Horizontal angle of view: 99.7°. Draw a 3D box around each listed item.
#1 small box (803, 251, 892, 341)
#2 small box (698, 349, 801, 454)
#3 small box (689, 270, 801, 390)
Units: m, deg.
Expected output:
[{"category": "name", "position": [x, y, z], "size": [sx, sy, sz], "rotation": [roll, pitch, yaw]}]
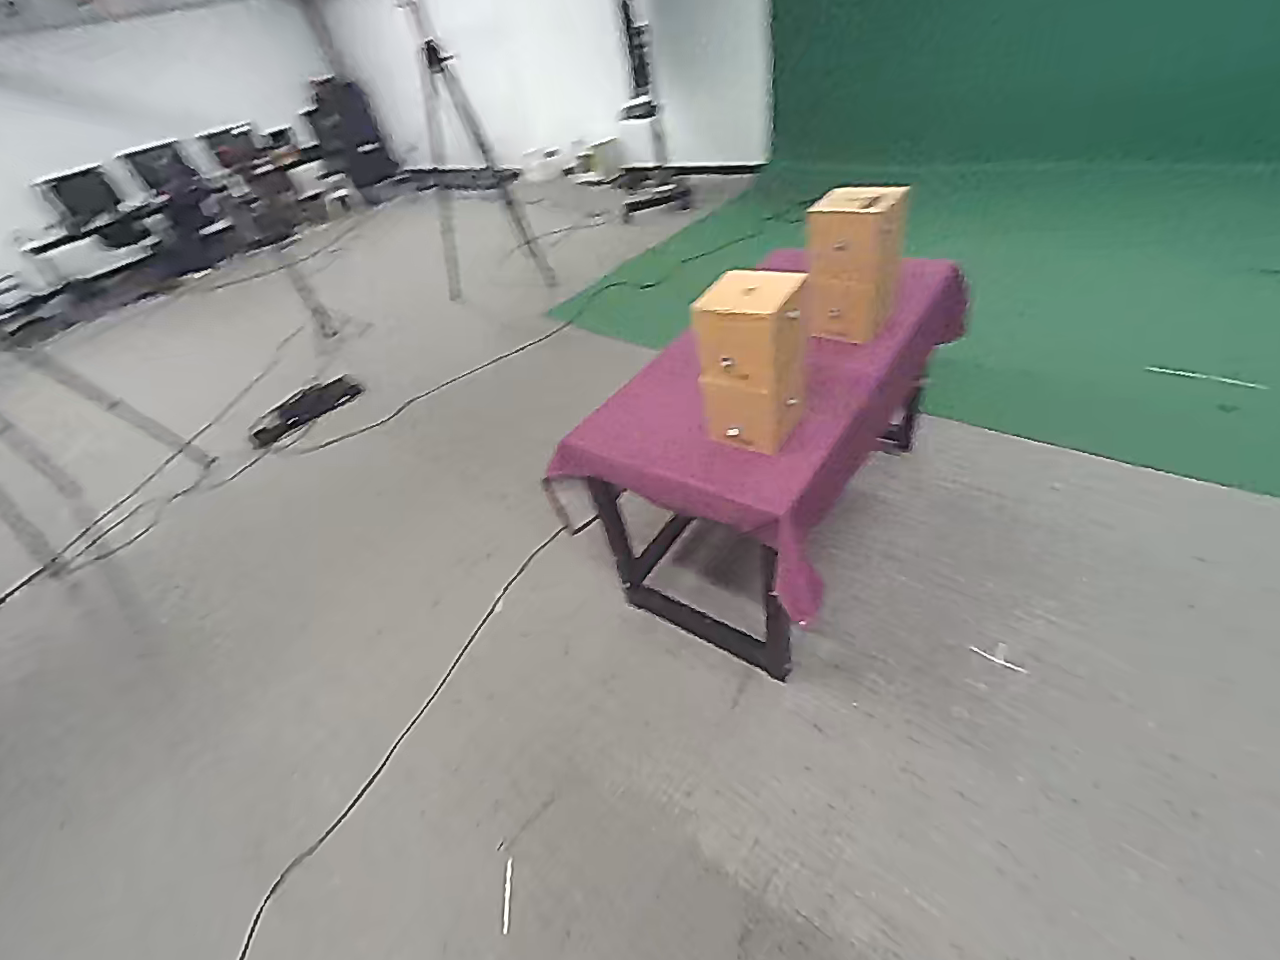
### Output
[{"category": "small box", "position": [0.559, -0.496, 1.462], "size": [0.168, 0.176, 0.179], "rotation": [24, 54, 35]}, {"category": "small box", "position": [0.248, -0.187, 1.209], "size": [0.168, 0.176, 0.179], "rotation": [17, 51, 31]}, {"category": "small box", "position": [0.218, -0.309, 1.106], "size": [0.168, 0.176, 0.179], "rotation": [16, 50, 31]}]
